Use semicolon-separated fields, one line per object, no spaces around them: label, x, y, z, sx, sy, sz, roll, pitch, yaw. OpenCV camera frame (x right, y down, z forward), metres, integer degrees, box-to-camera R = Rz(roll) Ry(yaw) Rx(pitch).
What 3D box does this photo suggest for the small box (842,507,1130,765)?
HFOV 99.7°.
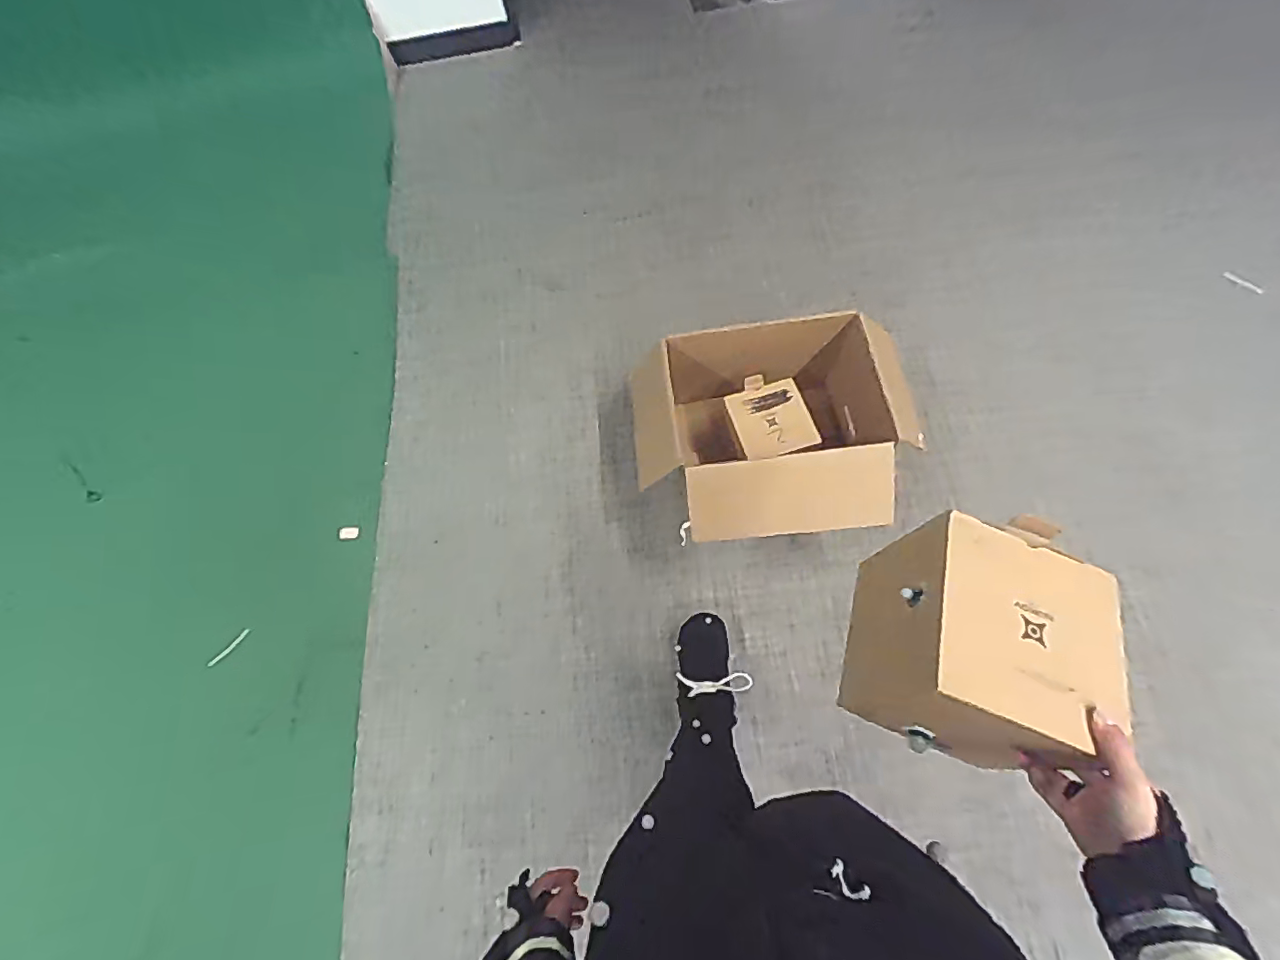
small box;0.323;0.160;0.536;0.168;0.176;0.179;22;60;1
